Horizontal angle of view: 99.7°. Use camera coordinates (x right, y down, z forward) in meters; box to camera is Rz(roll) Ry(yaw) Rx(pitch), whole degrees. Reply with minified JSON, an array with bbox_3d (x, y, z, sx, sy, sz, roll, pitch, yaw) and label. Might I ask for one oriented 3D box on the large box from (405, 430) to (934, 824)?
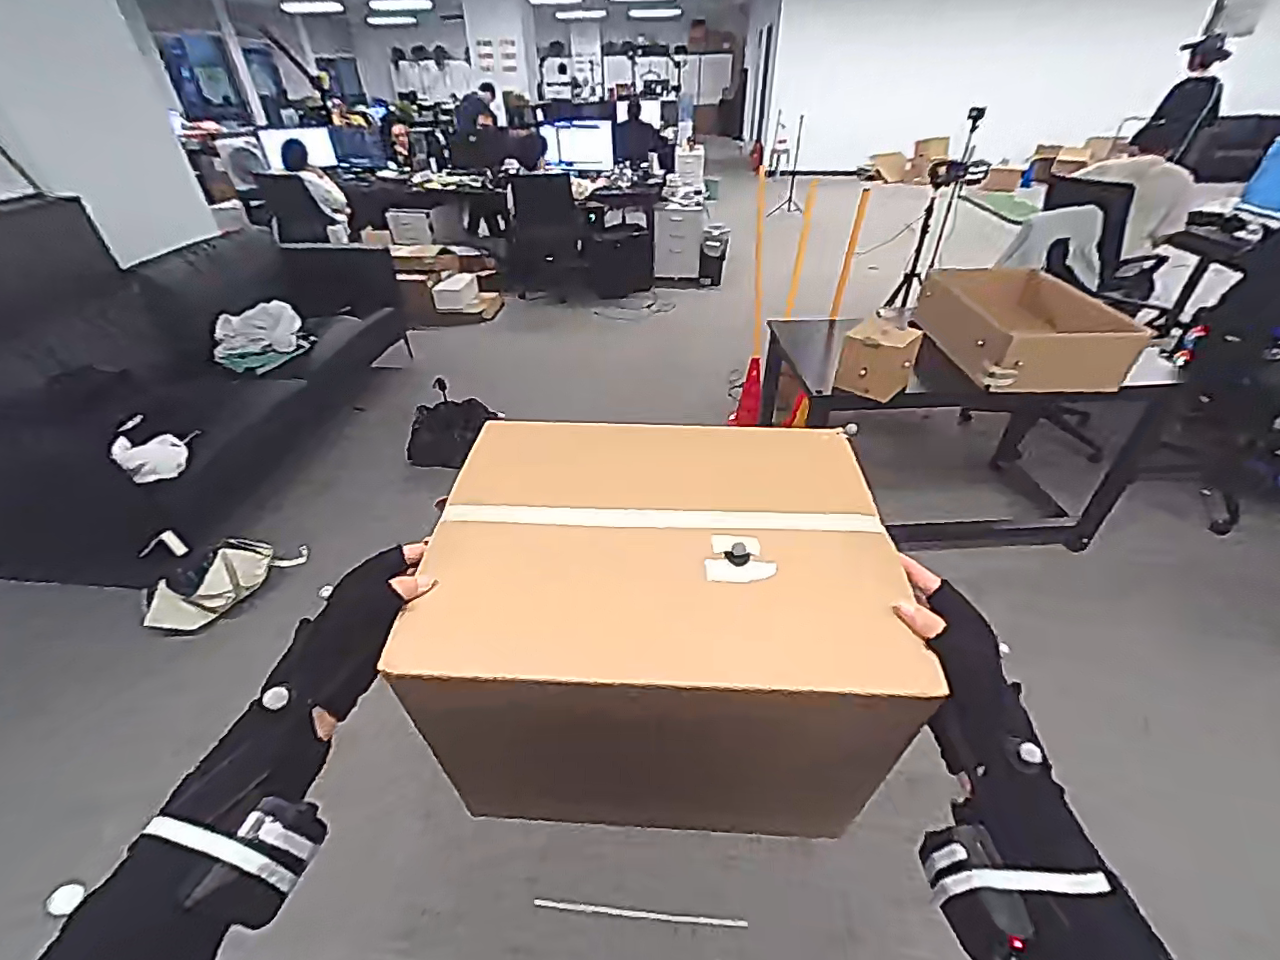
[{"bbox_3d":[0.022,0.159,0.607,0.408,0.320,0.320,2,42,1],"label":"large box"}]
